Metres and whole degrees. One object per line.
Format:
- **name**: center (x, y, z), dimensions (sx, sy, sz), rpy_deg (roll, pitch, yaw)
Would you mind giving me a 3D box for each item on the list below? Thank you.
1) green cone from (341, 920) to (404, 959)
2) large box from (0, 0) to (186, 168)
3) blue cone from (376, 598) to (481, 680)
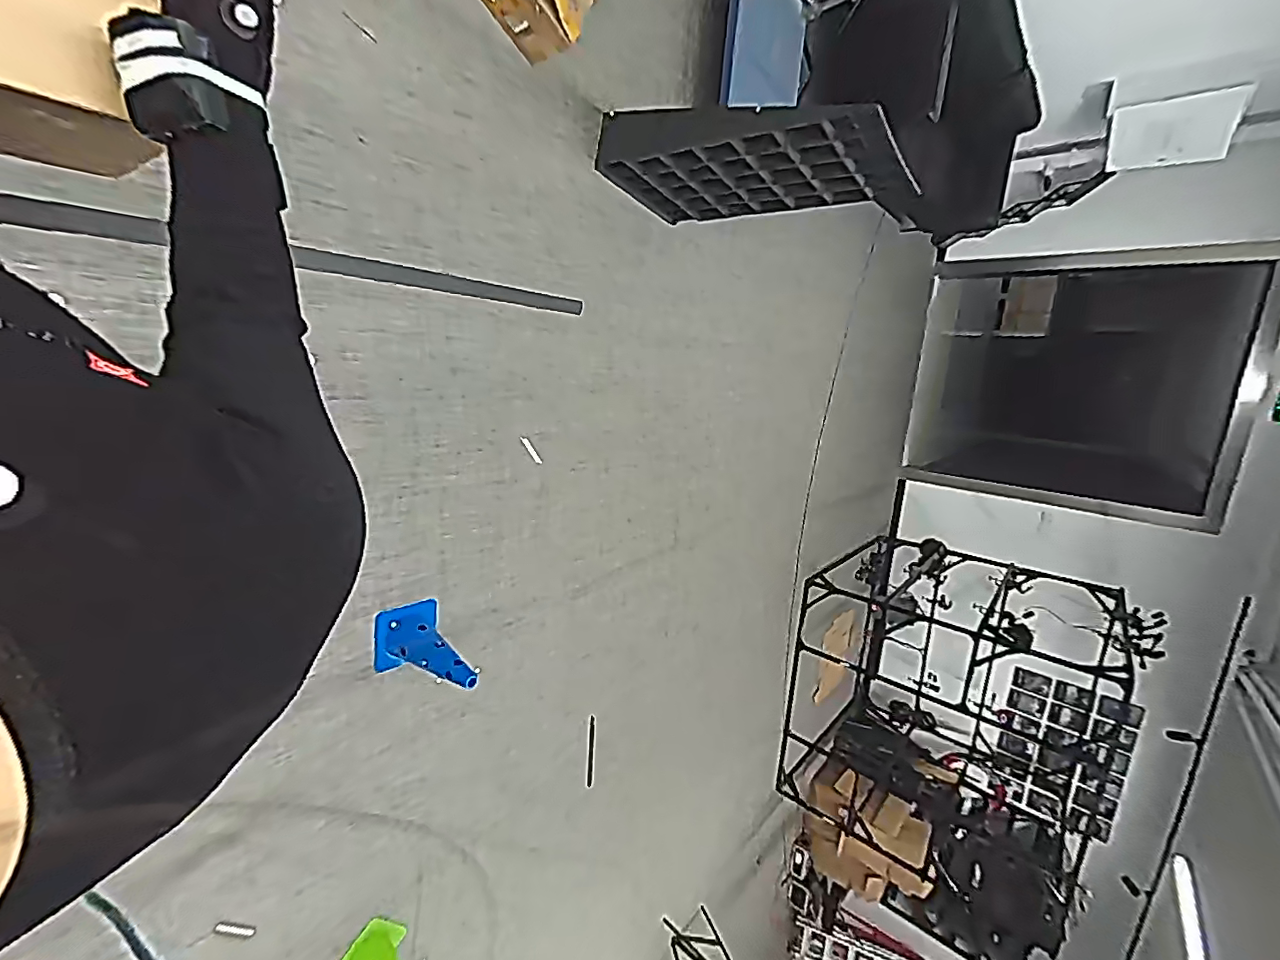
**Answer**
- **green cone**: center (-0.779, 1.621, 1.700), dimensions (0.202, 0.368, 0.200), rpy_deg (-52, 137, -30)
- **large box**: center (-0.574, -0.424, 0.314), dimensions (0.408, 0.320, 0.320), rpy_deg (-11, 113, -51)
- **blue cone**: center (-0.607, 0.506, 1.602), dimensions (0.192, 0.380, 0.193), rpy_deg (-5, 105, -52)
